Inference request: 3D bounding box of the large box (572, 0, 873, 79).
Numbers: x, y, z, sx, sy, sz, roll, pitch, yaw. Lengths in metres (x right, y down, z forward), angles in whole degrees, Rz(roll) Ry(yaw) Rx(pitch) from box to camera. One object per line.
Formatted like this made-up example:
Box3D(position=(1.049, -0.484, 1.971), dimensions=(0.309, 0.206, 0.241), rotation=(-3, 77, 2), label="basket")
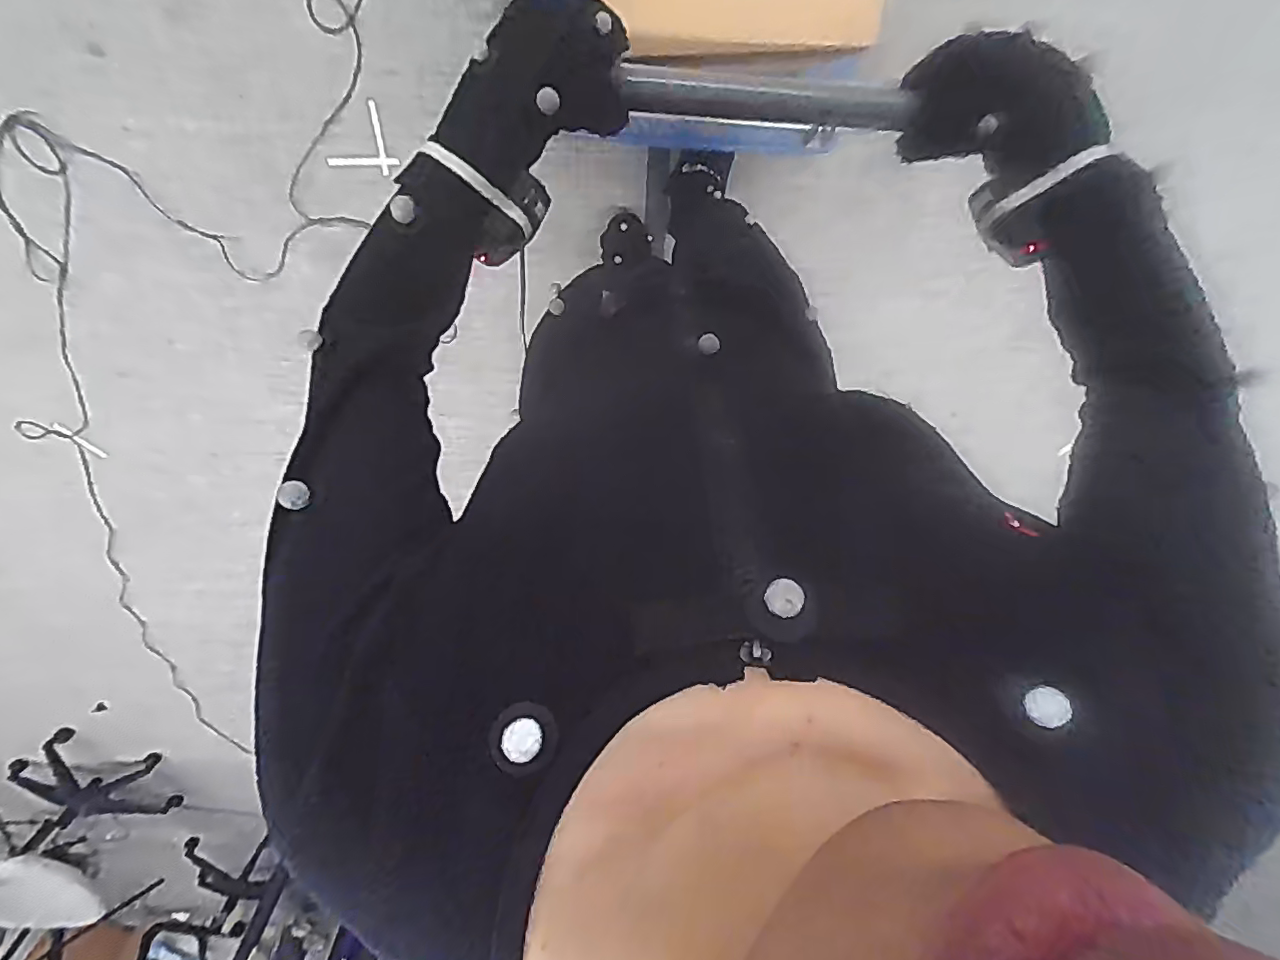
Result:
Box3D(position=(0.096, -0.789, 0.776), dimensions=(0.408, 0.320, 0.320), rotation=(-3, 124, -1), label="large box")
